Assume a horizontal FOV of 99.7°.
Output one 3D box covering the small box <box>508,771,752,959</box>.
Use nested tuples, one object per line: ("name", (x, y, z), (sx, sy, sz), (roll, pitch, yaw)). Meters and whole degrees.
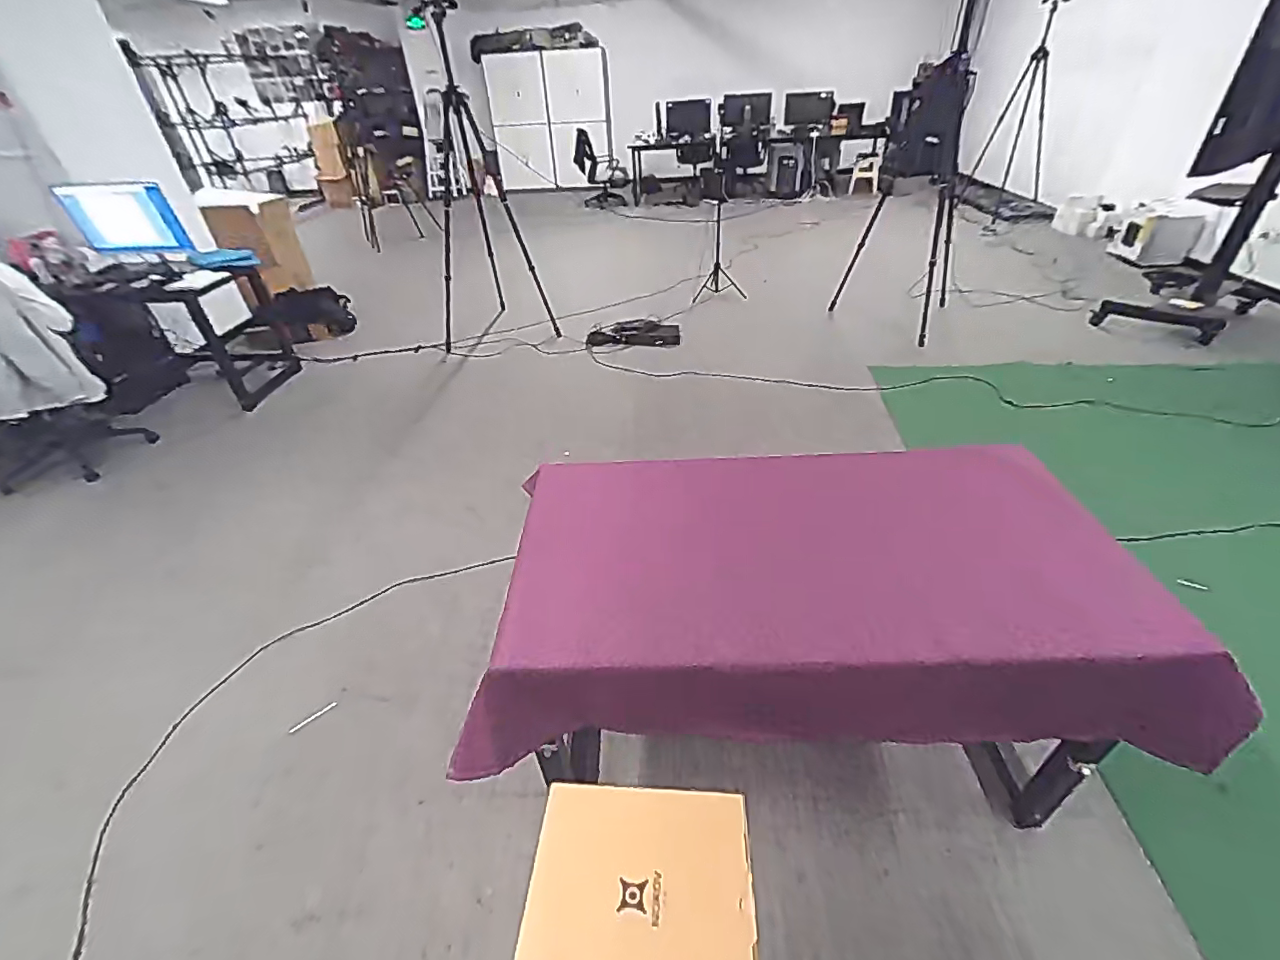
("small box", (0.002, 0.382, 0.467), (0.179, 0.176, 0.168), (0, 32, 6))
